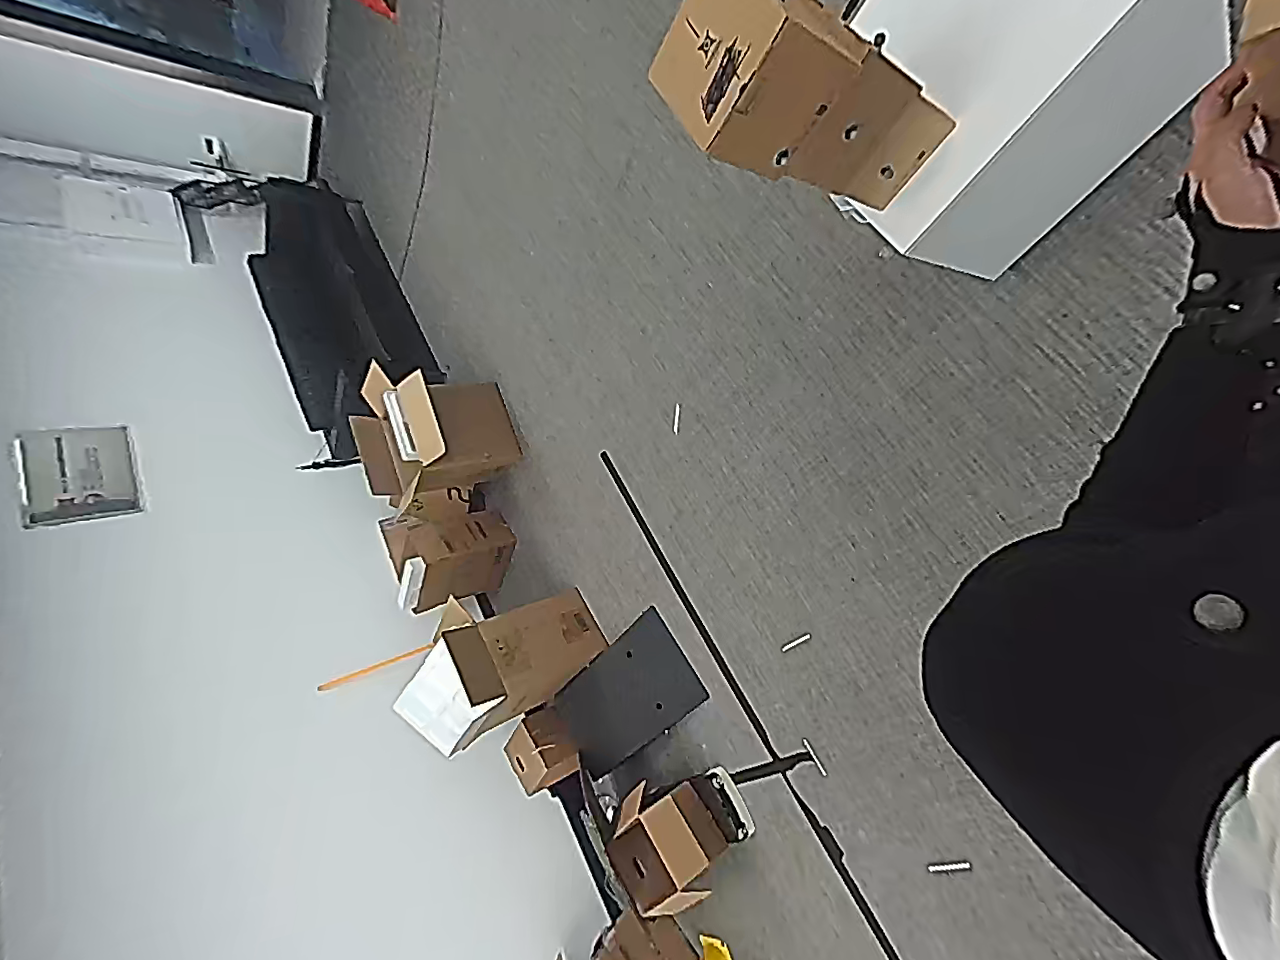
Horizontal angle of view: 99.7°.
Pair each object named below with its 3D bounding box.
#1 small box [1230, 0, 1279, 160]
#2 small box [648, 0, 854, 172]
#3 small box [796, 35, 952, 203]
[{"bbox_3d":[0.481,-0.320,0.303,0.168,0.176,0.179,11,88,57],"label":"small box"},{"bbox_3d":[0.147,-0.546,0.723,0.168,0.176,0.179,-46,63,44],"label":"small box"},{"bbox_3d":[0.394,-0.606,0.933,0.168,0.176,0.179,-50,62,42],"label":"small box"}]
